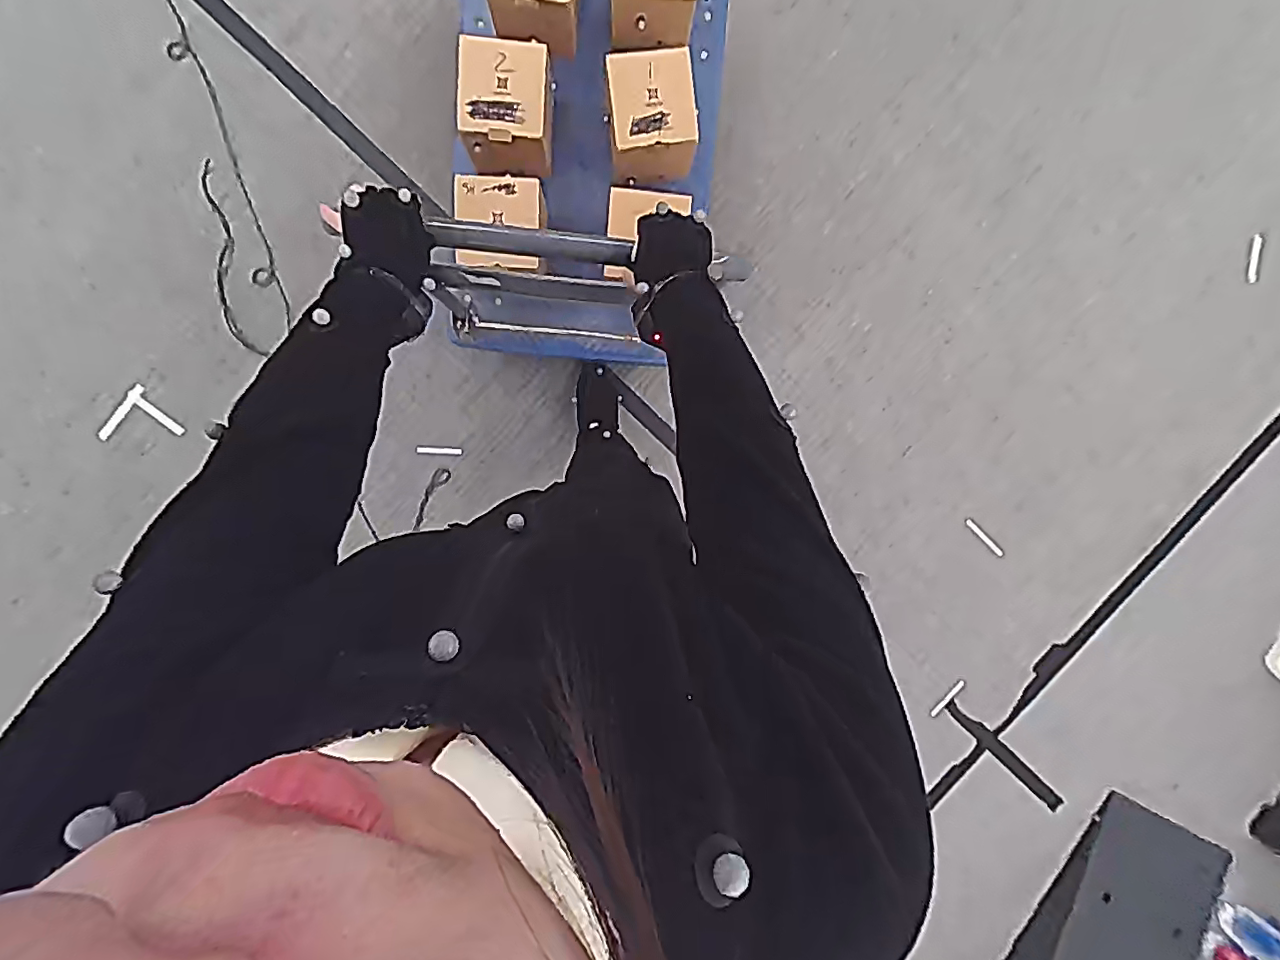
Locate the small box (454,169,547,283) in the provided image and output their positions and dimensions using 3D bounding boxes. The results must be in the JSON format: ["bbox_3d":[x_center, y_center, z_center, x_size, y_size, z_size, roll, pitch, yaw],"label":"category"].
[{"bbox_3d":[-0.287,-0.525,1.142,0.168,0.176,0.179,1,97,-5],"label":"small box"}]

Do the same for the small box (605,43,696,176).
[{"bbox_3d":[0.018,-0.763,1.135,0.168,0.176,0.179,-7,96,-3],"label":"small box"}]

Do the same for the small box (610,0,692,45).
[{"bbox_3d":[0.024,-1.034,1.105,0.168,0.176,0.179,2,97,-4],"label":"small box"}]

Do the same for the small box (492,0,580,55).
[{"bbox_3d":[-0.209,-1.015,1.089,0.168,0.176,0.179,6,97,-4],"label":"small box"}]

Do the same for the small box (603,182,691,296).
[{"bbox_3d":[0.009,-0.507,1.165,0.168,0.176,0.179,5,96,-5],"label":"small box"}]
